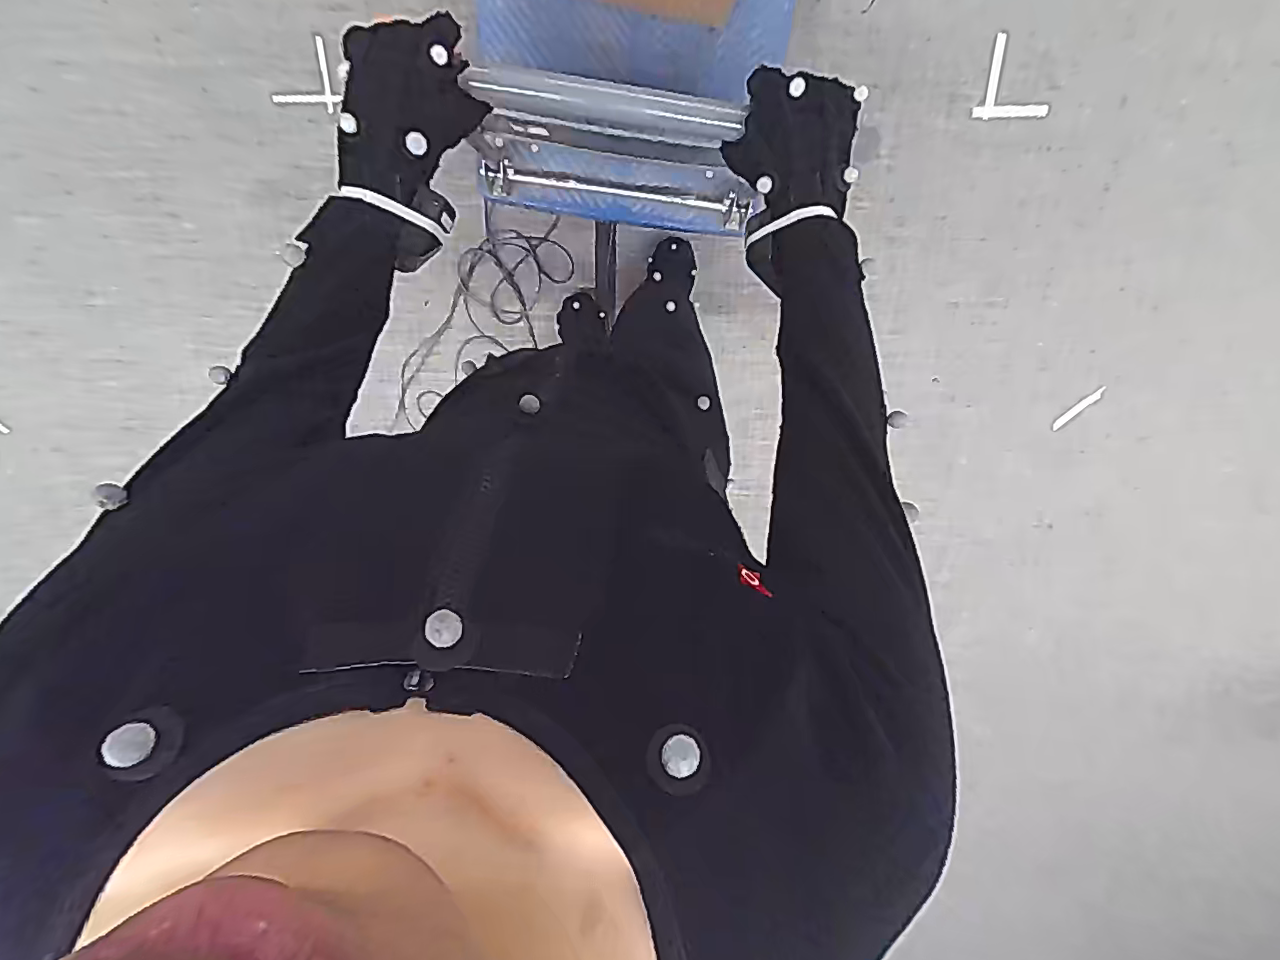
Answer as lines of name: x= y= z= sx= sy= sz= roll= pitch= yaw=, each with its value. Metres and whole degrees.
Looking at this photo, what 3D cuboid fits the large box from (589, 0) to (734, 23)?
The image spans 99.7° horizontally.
large box: x=-0.016 y=-0.955 z=0.807 sx=0.408 sy=0.320 sz=0.320 roll=8 pitch=112 yaw=-5
